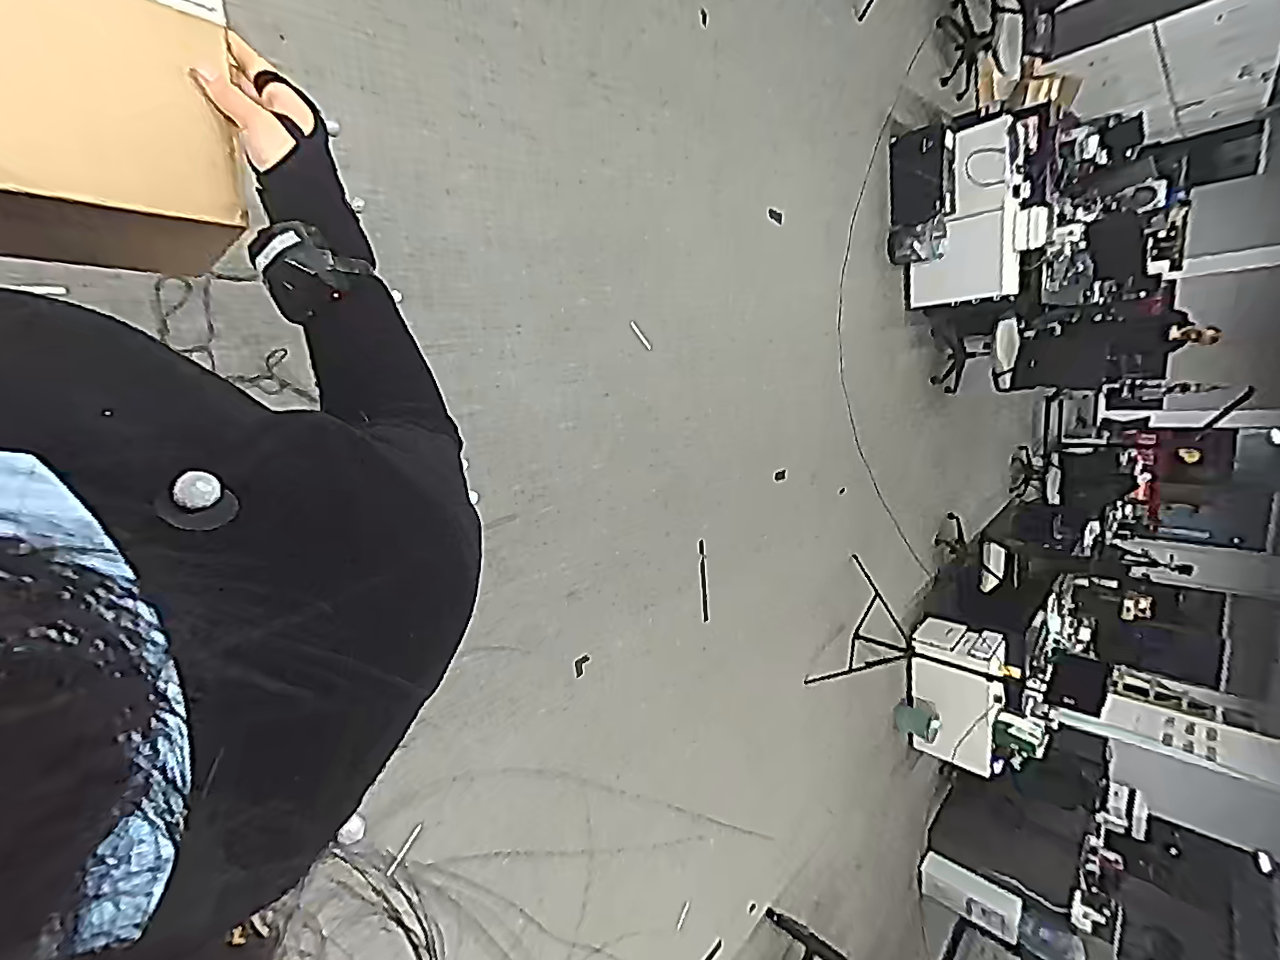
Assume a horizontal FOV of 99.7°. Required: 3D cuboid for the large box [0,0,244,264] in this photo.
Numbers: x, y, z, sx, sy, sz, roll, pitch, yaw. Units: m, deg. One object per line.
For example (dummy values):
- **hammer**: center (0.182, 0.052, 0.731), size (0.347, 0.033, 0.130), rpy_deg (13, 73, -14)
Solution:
- **large box**: center (-0.584, -0.362, 0.403), size (0.408, 0.320, 0.320), rpy_deg (-11, 104, -43)
